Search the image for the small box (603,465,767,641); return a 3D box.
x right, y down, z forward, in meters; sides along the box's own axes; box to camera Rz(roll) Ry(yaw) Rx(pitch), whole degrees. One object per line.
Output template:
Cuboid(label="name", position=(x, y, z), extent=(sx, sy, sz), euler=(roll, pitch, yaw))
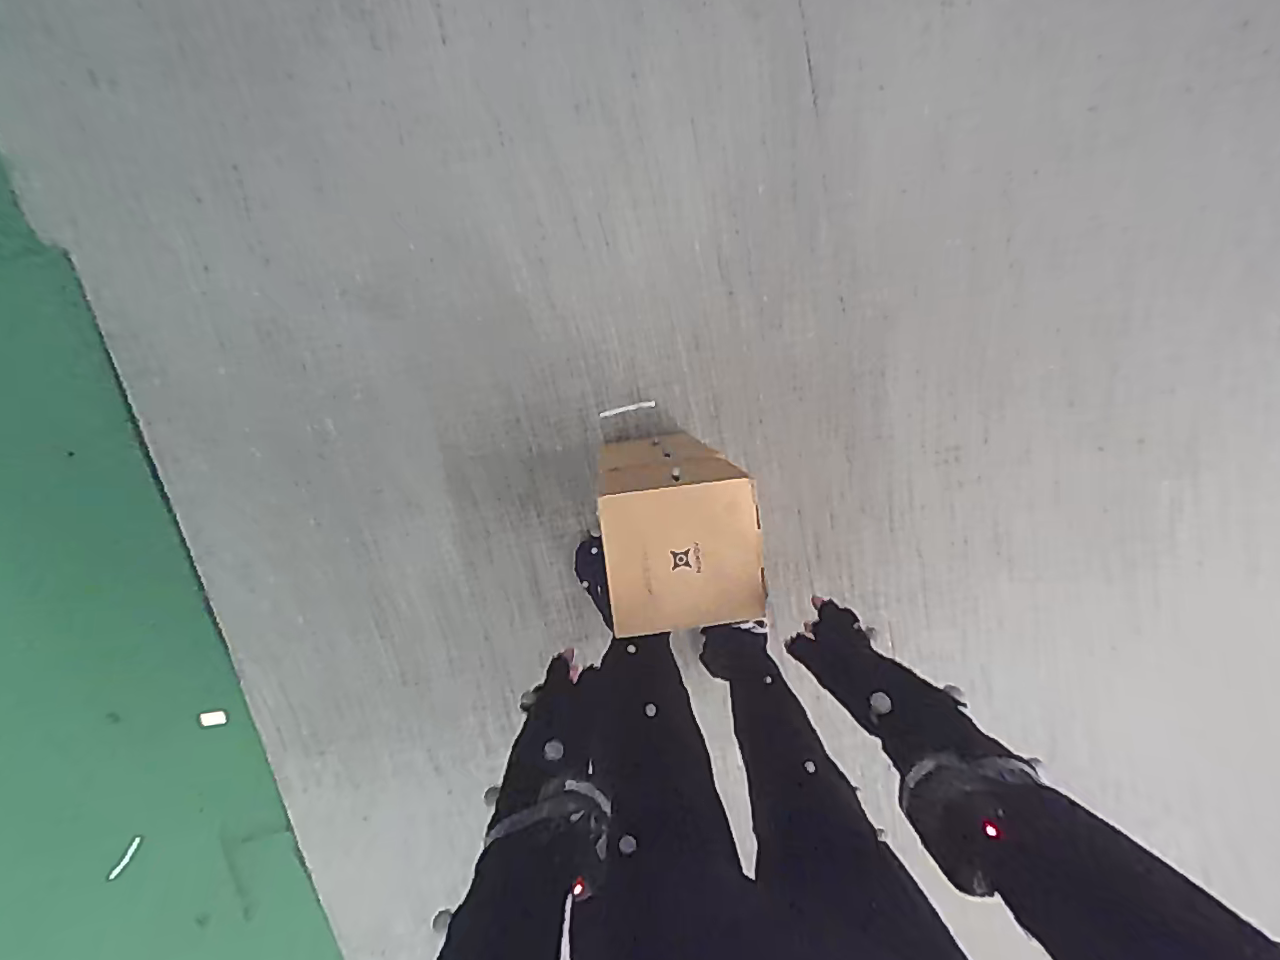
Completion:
Cuboid(label="small box", position=(0.047, 0.079, 0.678), extent=(0.179, 0.176, 0.168), euler=(-7, 100, -2))

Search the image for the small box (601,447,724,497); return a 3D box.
Cuboid(label="small box", position=(0.037, 0.049, 0.842), extent=(0.179, 0.176, 0.168), euler=(-10, 101, -1))

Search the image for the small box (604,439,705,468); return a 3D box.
Cuboid(label="small box", position=(0.028, 0.021, 1.000), extent=(0.179, 0.176, 0.168), euler=(-8, 100, -1))
